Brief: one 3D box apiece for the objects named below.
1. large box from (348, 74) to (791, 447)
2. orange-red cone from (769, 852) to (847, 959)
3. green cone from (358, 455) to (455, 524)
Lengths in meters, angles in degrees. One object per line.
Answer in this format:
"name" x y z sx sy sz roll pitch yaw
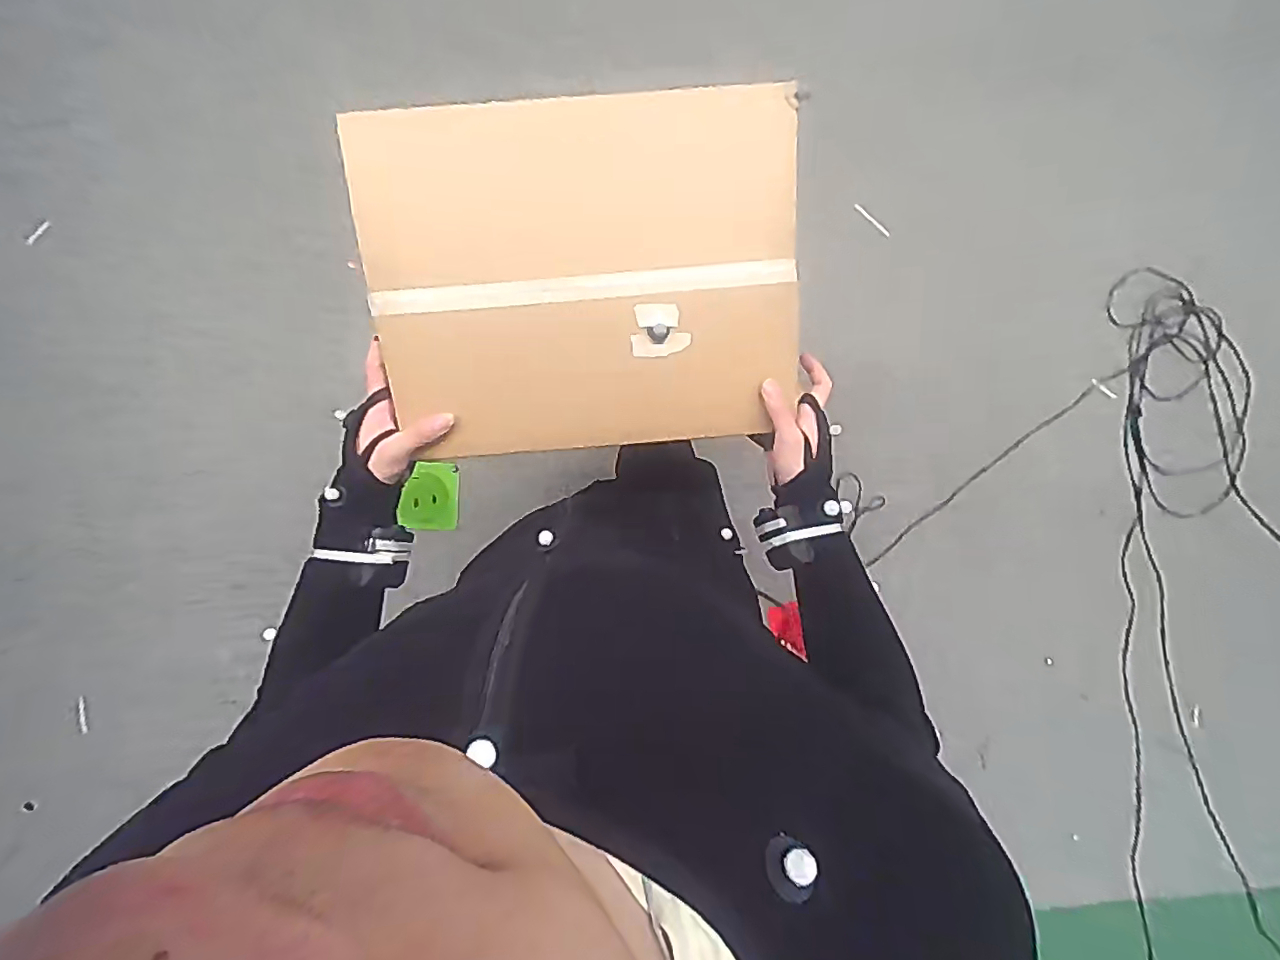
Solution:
"large box" -0.060 -0.240 0.666 0.408 0.320 0.320 -5 107 -2
"orange-red cone" 0.529 1.298 1.560 0.199 0.360 0.198 4 95 -4
"green cone" -0.647 0.045 1.432 0.200 0.368 0.202 3 95 -2
